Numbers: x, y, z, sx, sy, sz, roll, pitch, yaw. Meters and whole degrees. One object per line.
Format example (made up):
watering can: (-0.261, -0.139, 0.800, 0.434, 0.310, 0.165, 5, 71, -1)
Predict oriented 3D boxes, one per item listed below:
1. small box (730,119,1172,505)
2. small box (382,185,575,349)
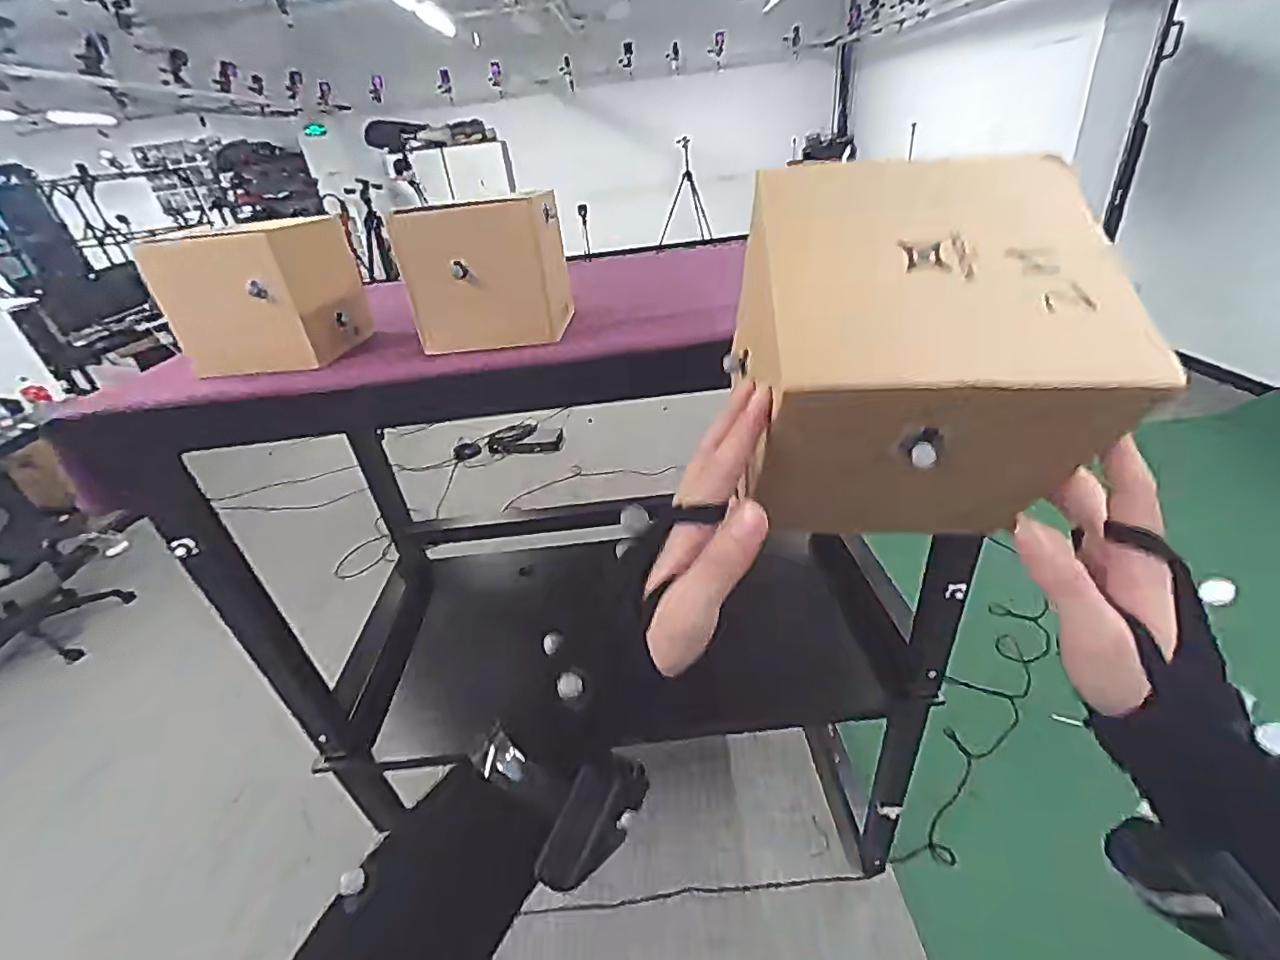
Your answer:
small box: (0.149, -0.091, 0.342, 0.179, 0.176, 0.168, 0, 63, 5)
small box: (-0.195, -0.279, 0.710, 0.179, 0.176, 0.168, -5, 31, 5)
